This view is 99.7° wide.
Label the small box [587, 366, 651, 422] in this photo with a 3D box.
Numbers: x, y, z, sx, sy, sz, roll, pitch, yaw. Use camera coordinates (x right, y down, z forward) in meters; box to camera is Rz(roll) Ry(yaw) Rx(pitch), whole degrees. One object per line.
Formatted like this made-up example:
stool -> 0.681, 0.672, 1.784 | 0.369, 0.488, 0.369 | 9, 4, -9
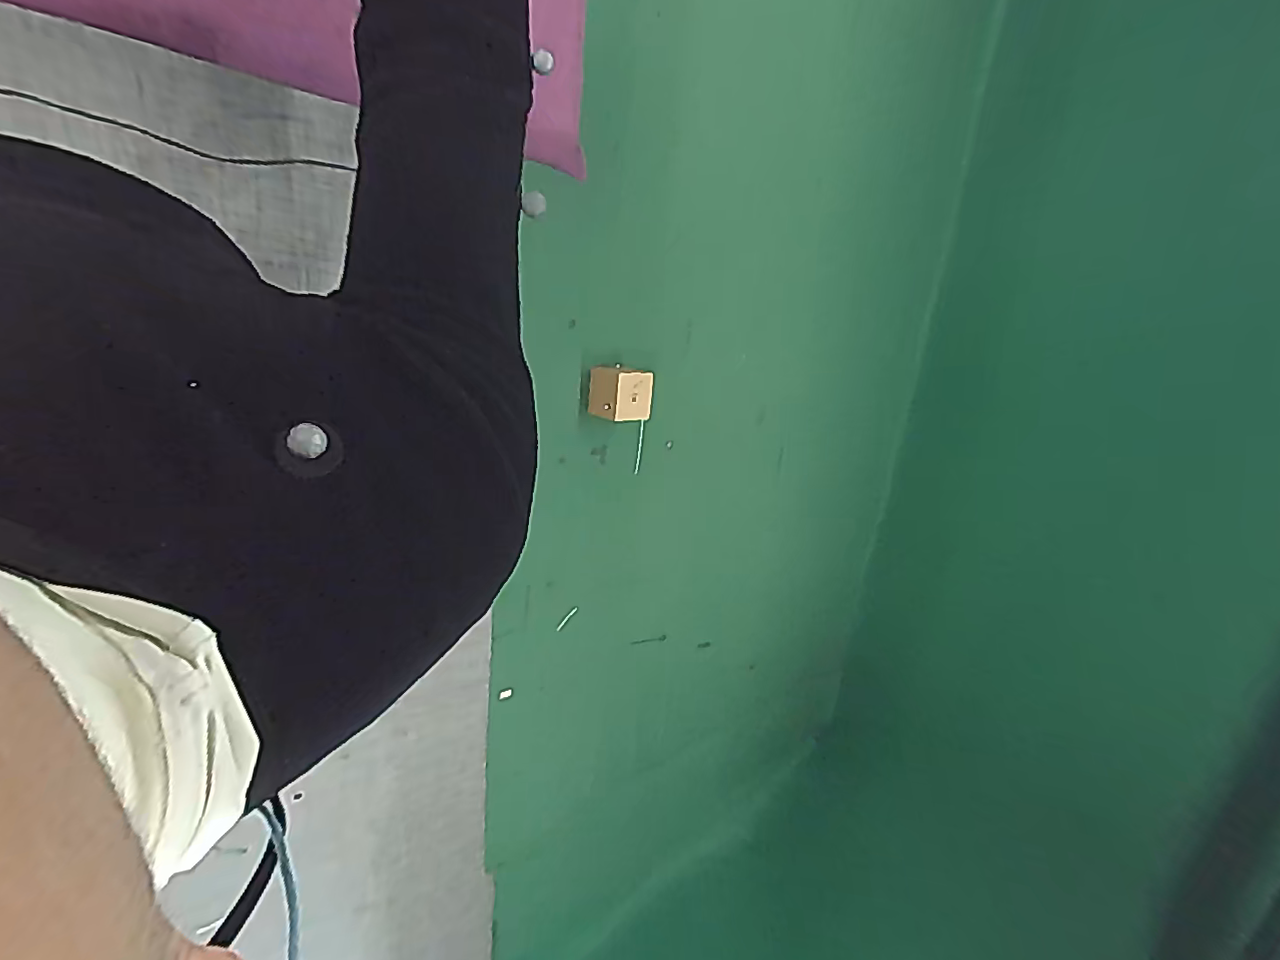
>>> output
small box -> -0.084, -0.321, 2.006 | 0.168, 0.176, 0.179 | -8, 111, -41
